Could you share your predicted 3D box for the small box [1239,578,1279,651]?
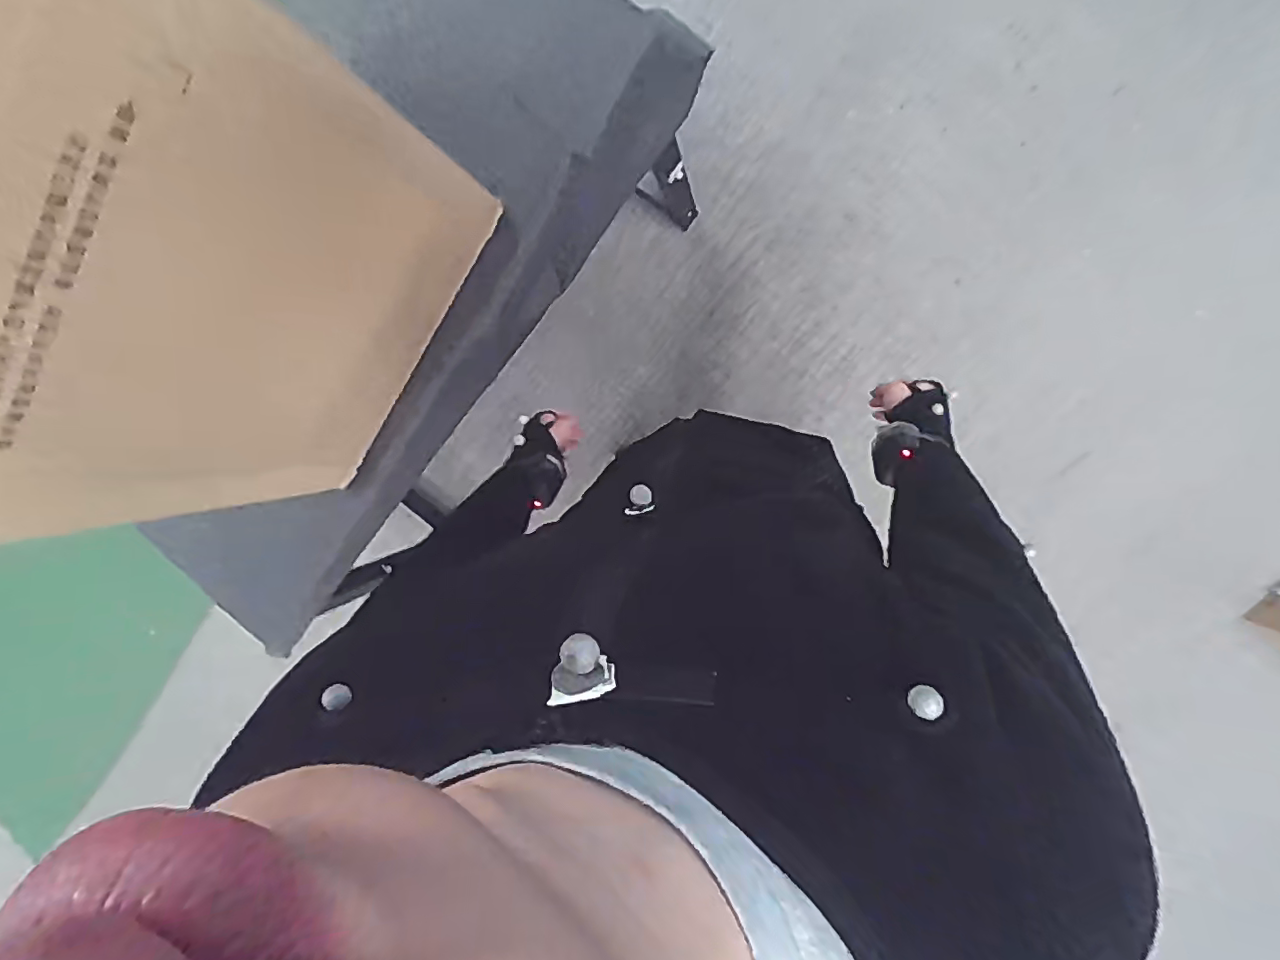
[{"bbox_3d":[1.540,0.332,1.205,0.179,0.176,0.168,38,100,7],"label":"small box"}]
